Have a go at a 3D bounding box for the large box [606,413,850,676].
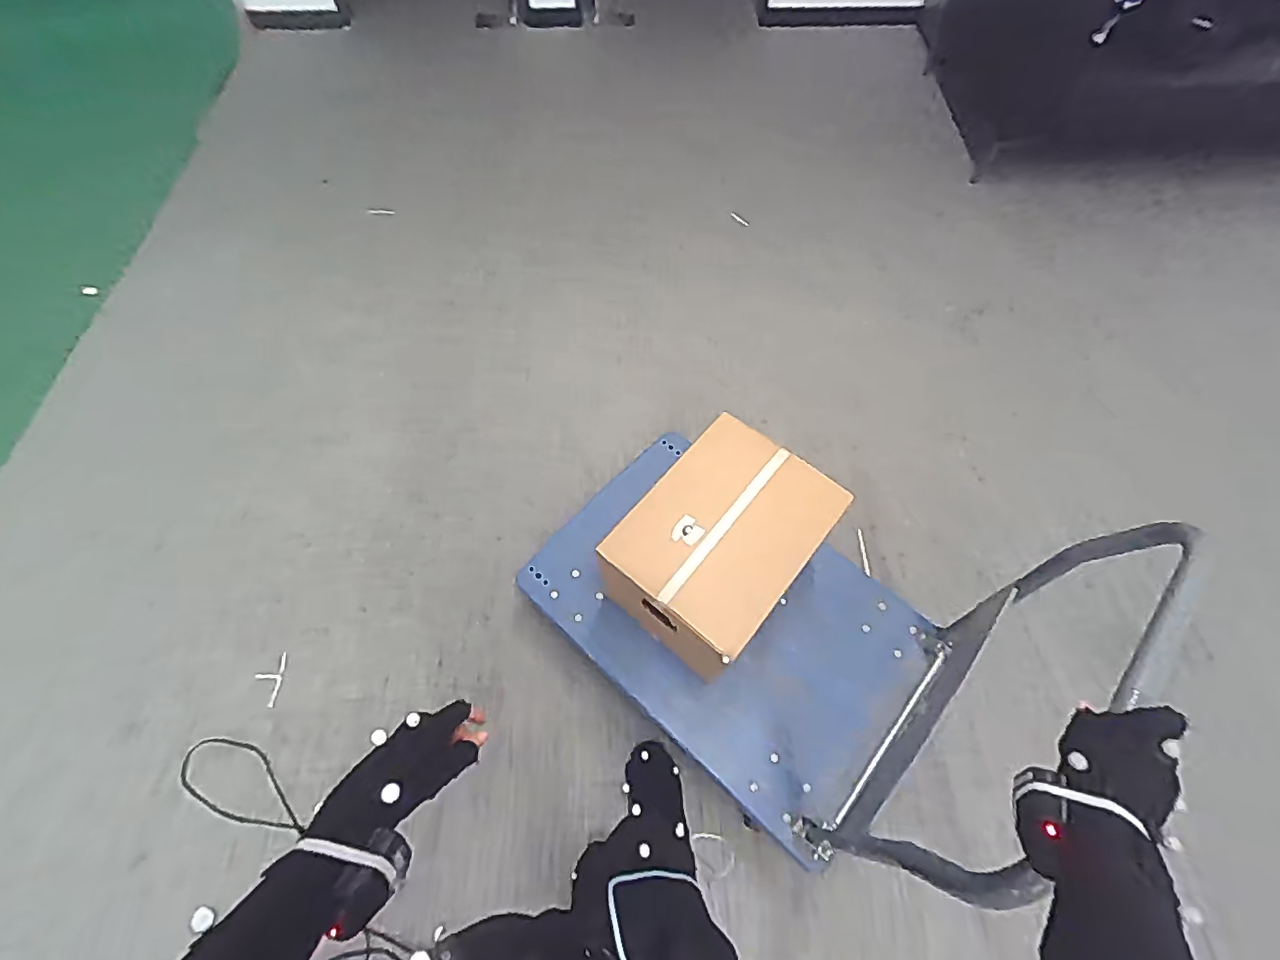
[{"bbox_3d":[0.175,0.144,1.159,0.320,0.320,0.408,35,69,18],"label":"large box"}]
